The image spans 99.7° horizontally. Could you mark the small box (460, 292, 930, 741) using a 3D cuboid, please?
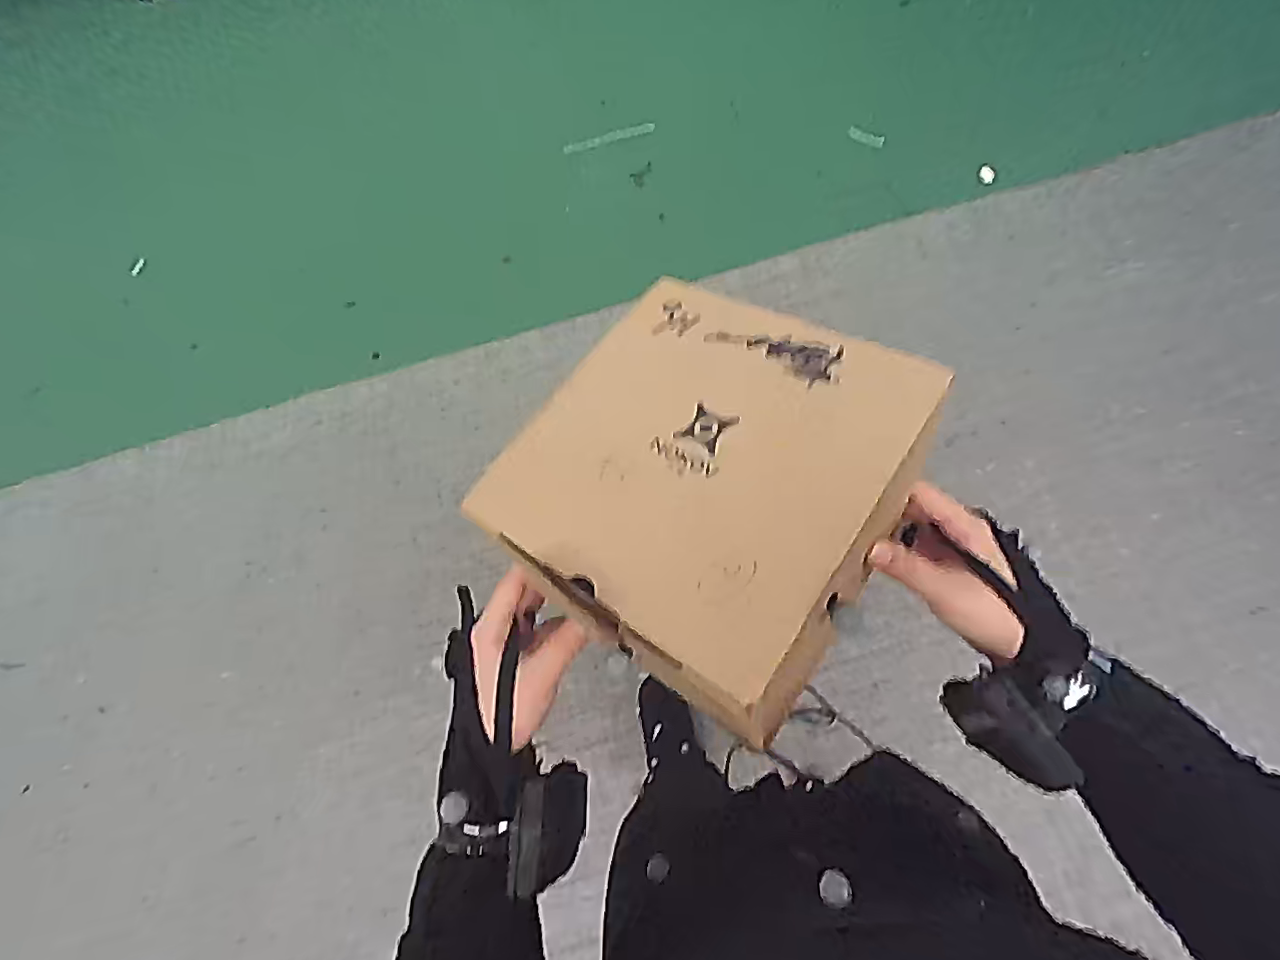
[{"bbox_3d":[0.039,0.028,0.322,0.168,0.176,0.179,29,71,28],"label":"small box"}]
